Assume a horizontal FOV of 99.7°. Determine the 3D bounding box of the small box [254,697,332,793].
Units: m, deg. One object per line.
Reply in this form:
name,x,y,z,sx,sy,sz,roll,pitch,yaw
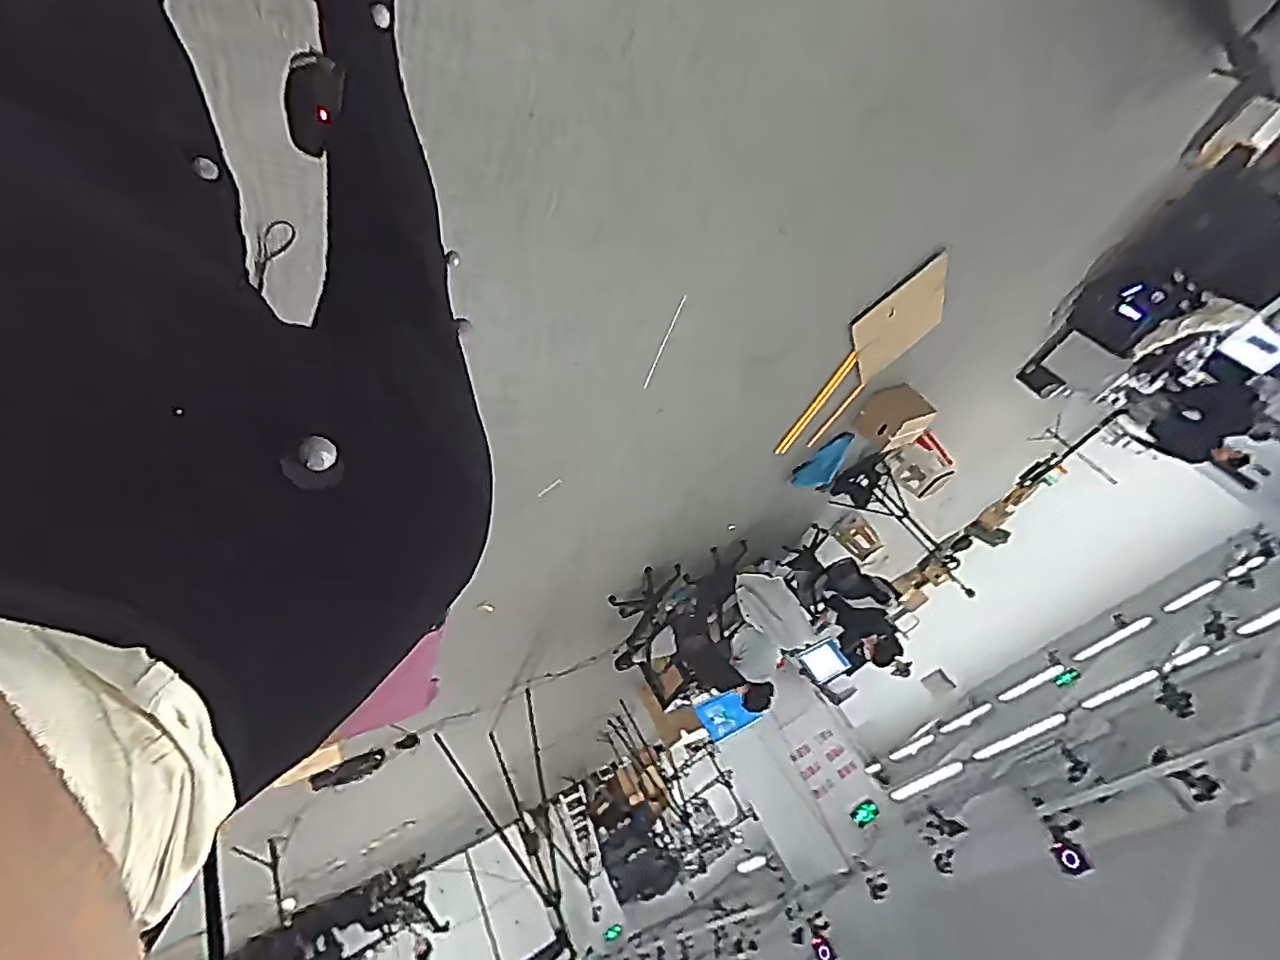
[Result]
small box,-0.992,0.756,1.552,0.168,0.176,0.179,-11,143,-36
